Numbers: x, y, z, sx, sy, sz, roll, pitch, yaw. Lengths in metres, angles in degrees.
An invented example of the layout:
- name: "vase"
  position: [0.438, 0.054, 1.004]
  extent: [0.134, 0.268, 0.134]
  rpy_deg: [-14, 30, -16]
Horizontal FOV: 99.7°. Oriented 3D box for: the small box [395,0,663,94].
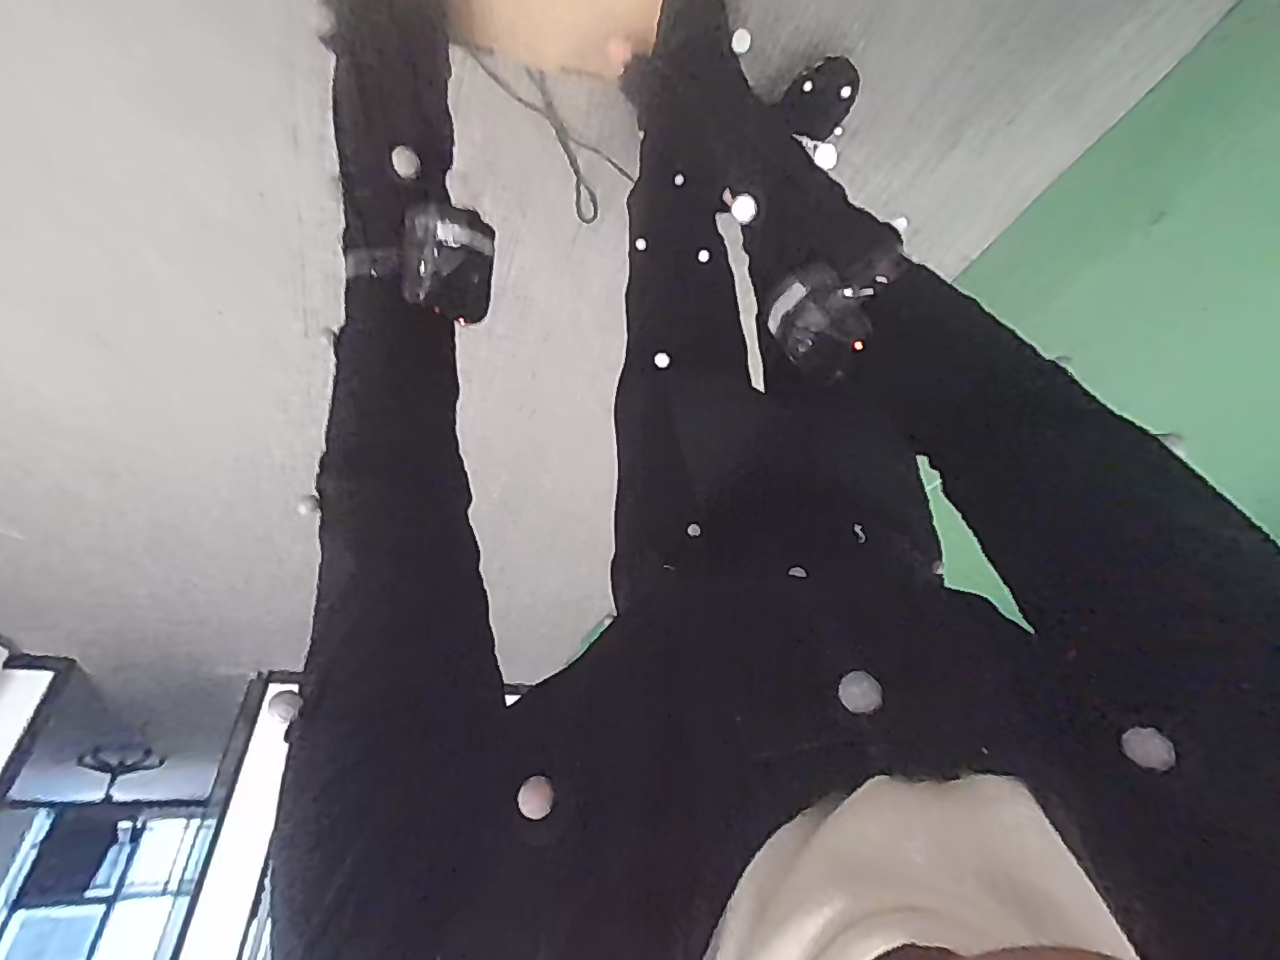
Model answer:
- name: "small box"
  position: [-0.064, -0.391, 0.353]
  extent: [0.168, 0.176, 0.179]
  rpy_deg: [3, 136, -12]
